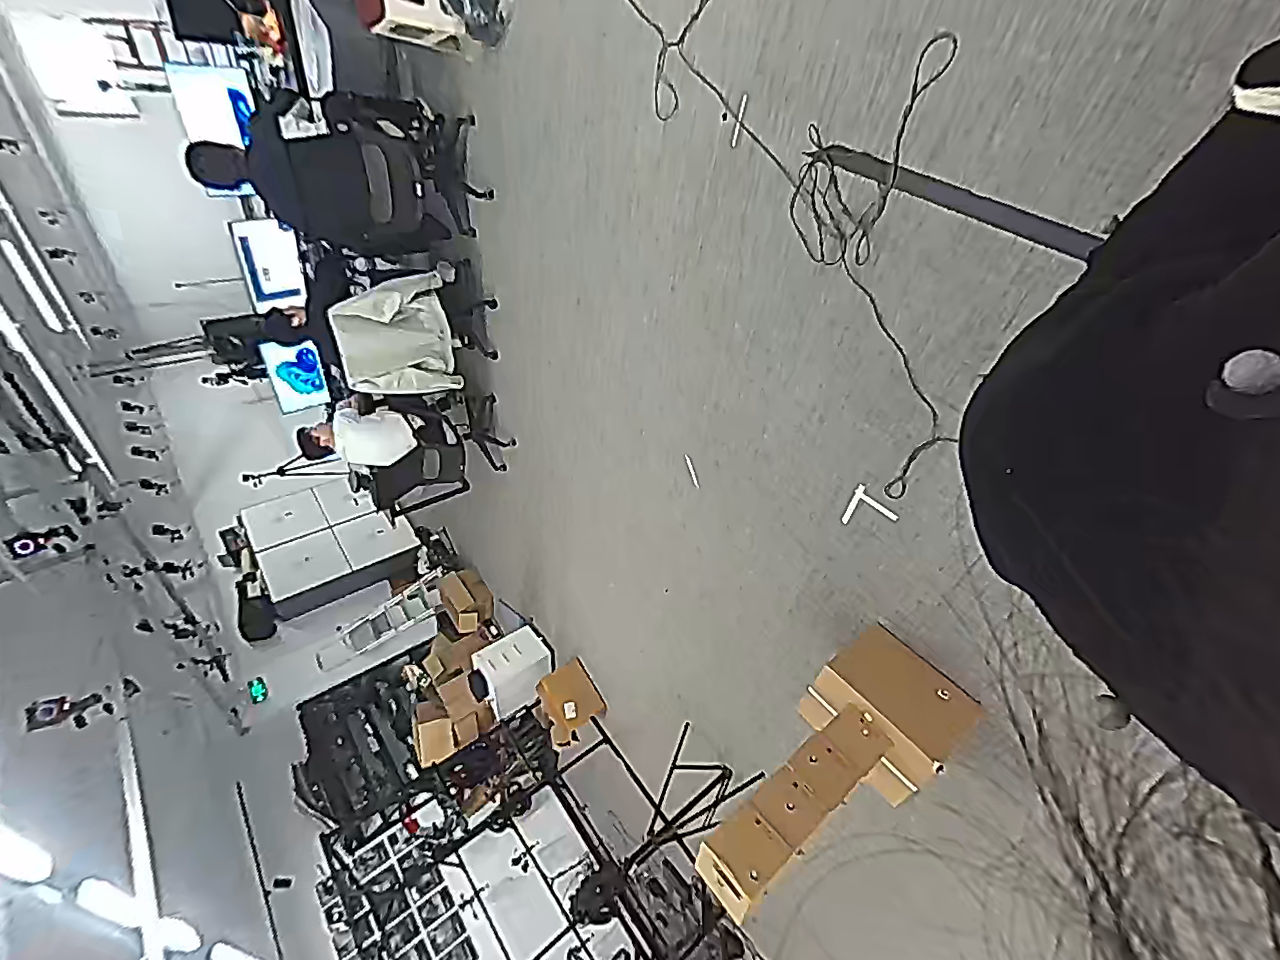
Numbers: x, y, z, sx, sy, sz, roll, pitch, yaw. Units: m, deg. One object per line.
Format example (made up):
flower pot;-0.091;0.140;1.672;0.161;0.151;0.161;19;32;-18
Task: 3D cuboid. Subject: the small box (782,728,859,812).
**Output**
small box;0.521;0.879;1.606;0.168;0.176;0.179;42;140;35

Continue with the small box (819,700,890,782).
small box;0.648;0.833;1.695;0.168;0.176;0.179;41;139;33

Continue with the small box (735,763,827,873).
small box;0.396;0.939;1.516;0.168;0.176;0.179;39;137;38
